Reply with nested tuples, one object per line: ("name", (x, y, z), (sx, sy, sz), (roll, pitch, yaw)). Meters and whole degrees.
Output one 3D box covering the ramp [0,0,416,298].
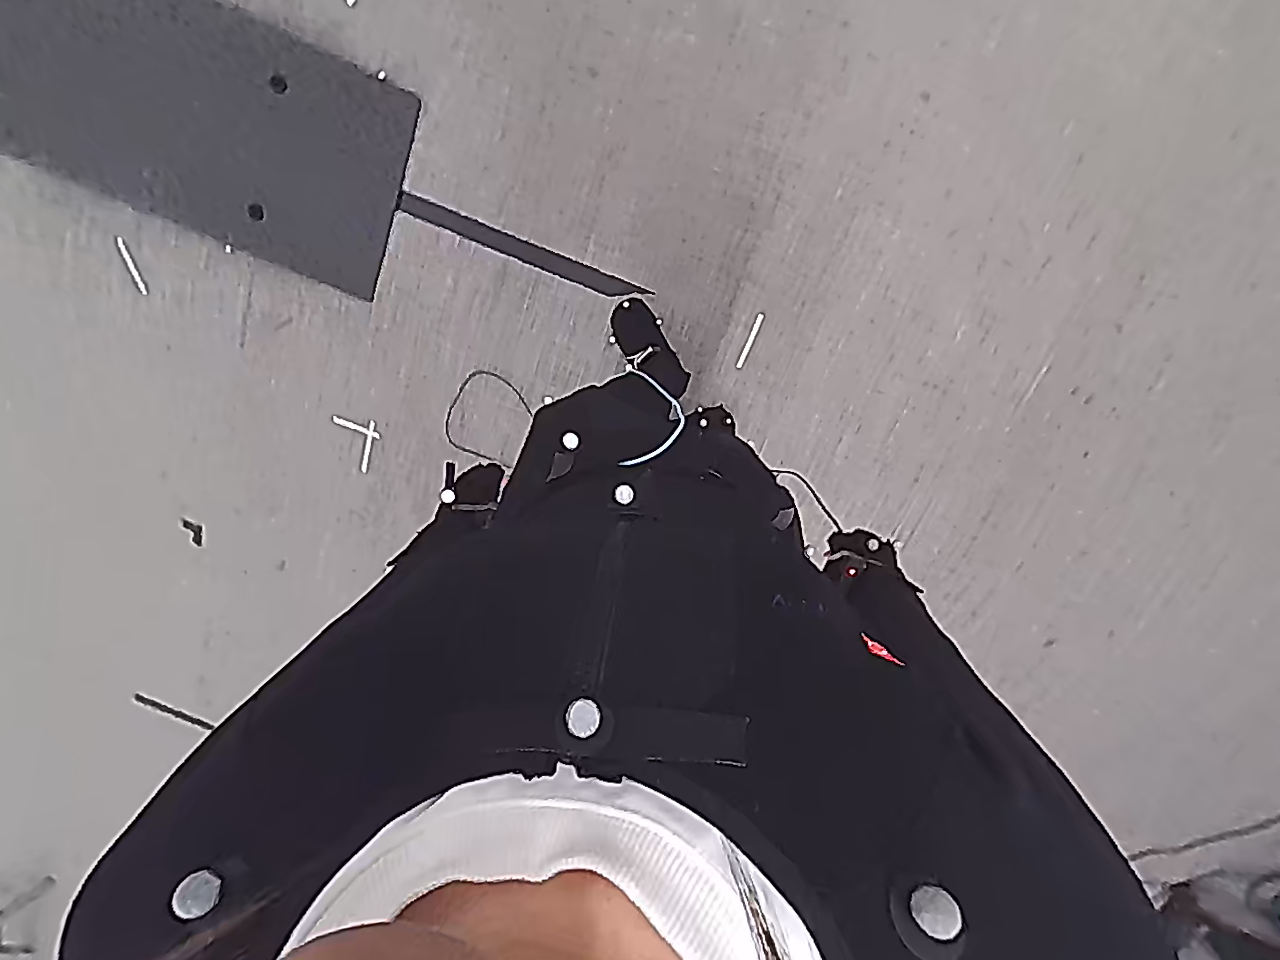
("ramp", (-1.059, -0.844, 1.218), (0.991, 0.206, 0.509), (22, 107, -2))
